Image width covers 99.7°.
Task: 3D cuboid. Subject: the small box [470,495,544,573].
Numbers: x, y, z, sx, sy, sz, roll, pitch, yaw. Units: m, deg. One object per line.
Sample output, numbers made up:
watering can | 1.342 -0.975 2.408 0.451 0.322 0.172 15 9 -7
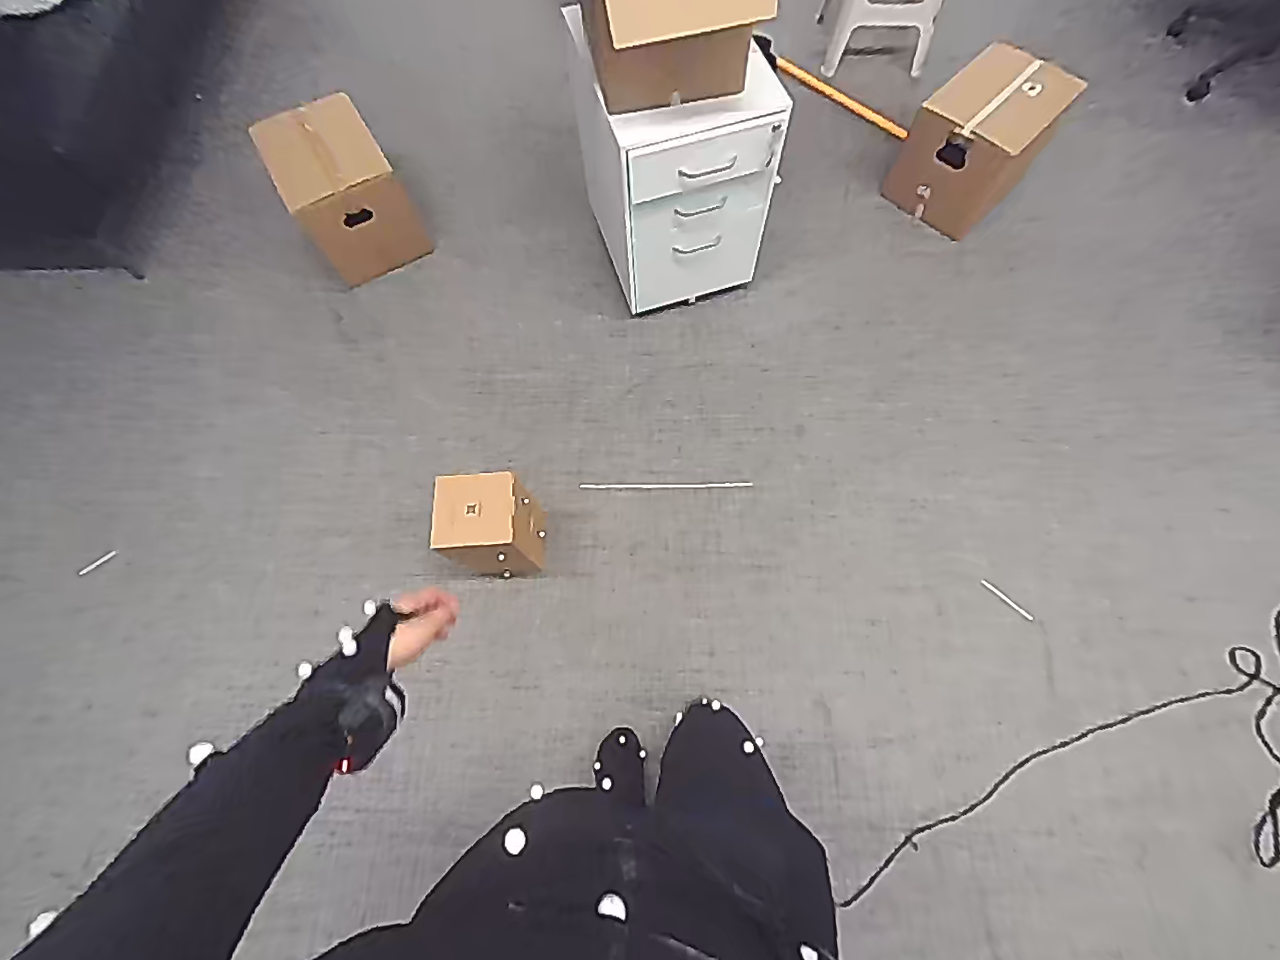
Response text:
small box | -0.347 0.144 1.395 0.179 0.176 0.168 -2 69 1

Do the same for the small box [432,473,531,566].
small box | -0.353 0.095 1.239 0.179 0.176 0.168 -5 68 2
